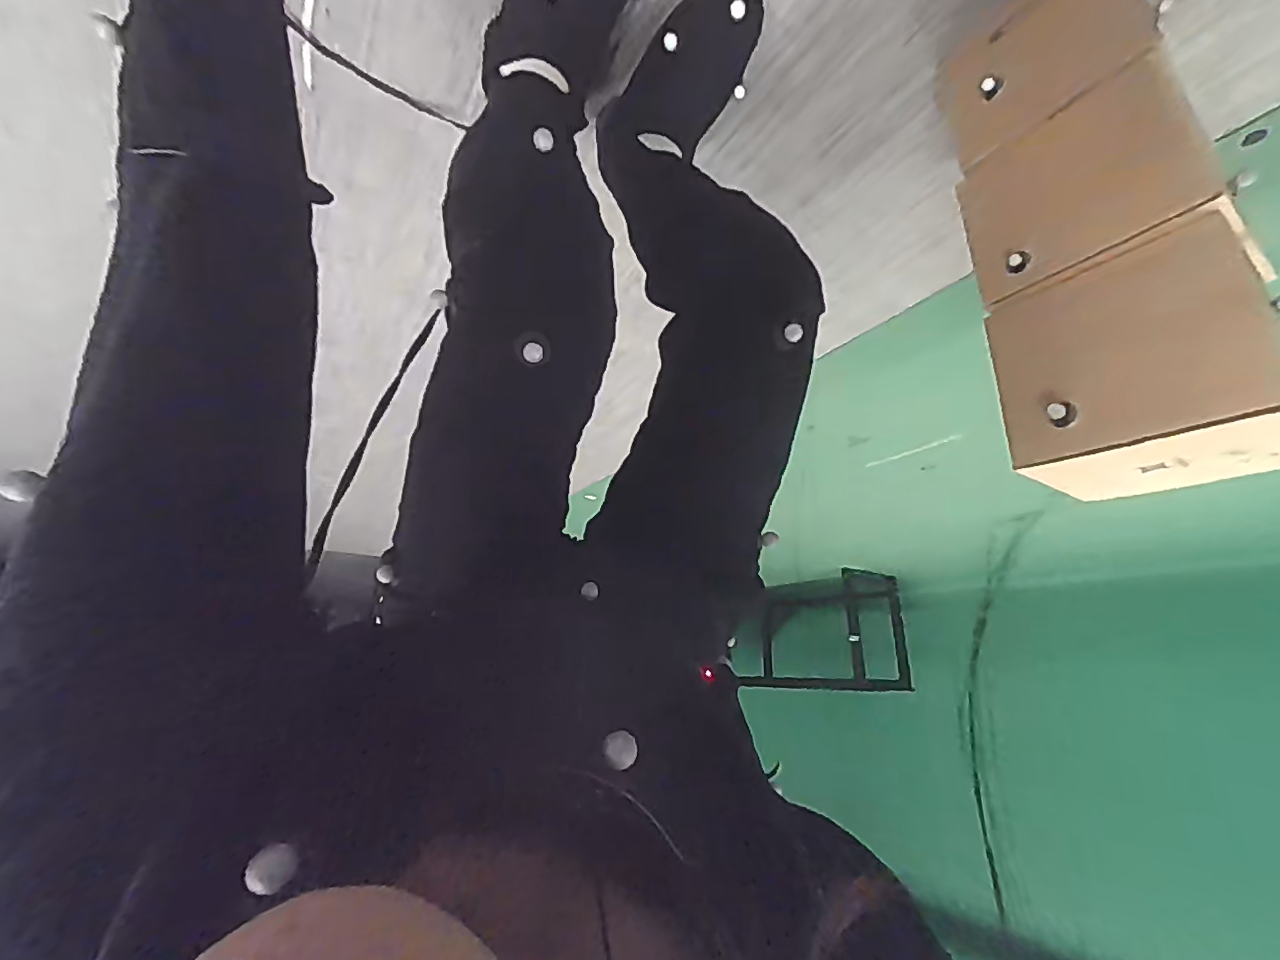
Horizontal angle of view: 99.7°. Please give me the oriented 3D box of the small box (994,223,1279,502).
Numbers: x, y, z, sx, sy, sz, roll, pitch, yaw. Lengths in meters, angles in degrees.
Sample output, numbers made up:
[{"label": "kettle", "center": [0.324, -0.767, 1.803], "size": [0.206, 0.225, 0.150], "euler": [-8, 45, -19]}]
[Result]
[{"label": "small box", "center": [0.461, -0.092, 0.504], "size": [0.168, 0.176, 0.179], "euler": [13, 158, -31]}]

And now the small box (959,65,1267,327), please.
[{"label": "small box", "center": [0.458, -0.252, 0.544], "size": [0.168, 0.176, 0.179], "euler": [13, 158, -31]}]

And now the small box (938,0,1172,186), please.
[{"label": "small box", "center": [0.458, -0.406, 0.595], "size": [0.179, 0.176, 0.168], "euler": [14, 156, -33]}]
